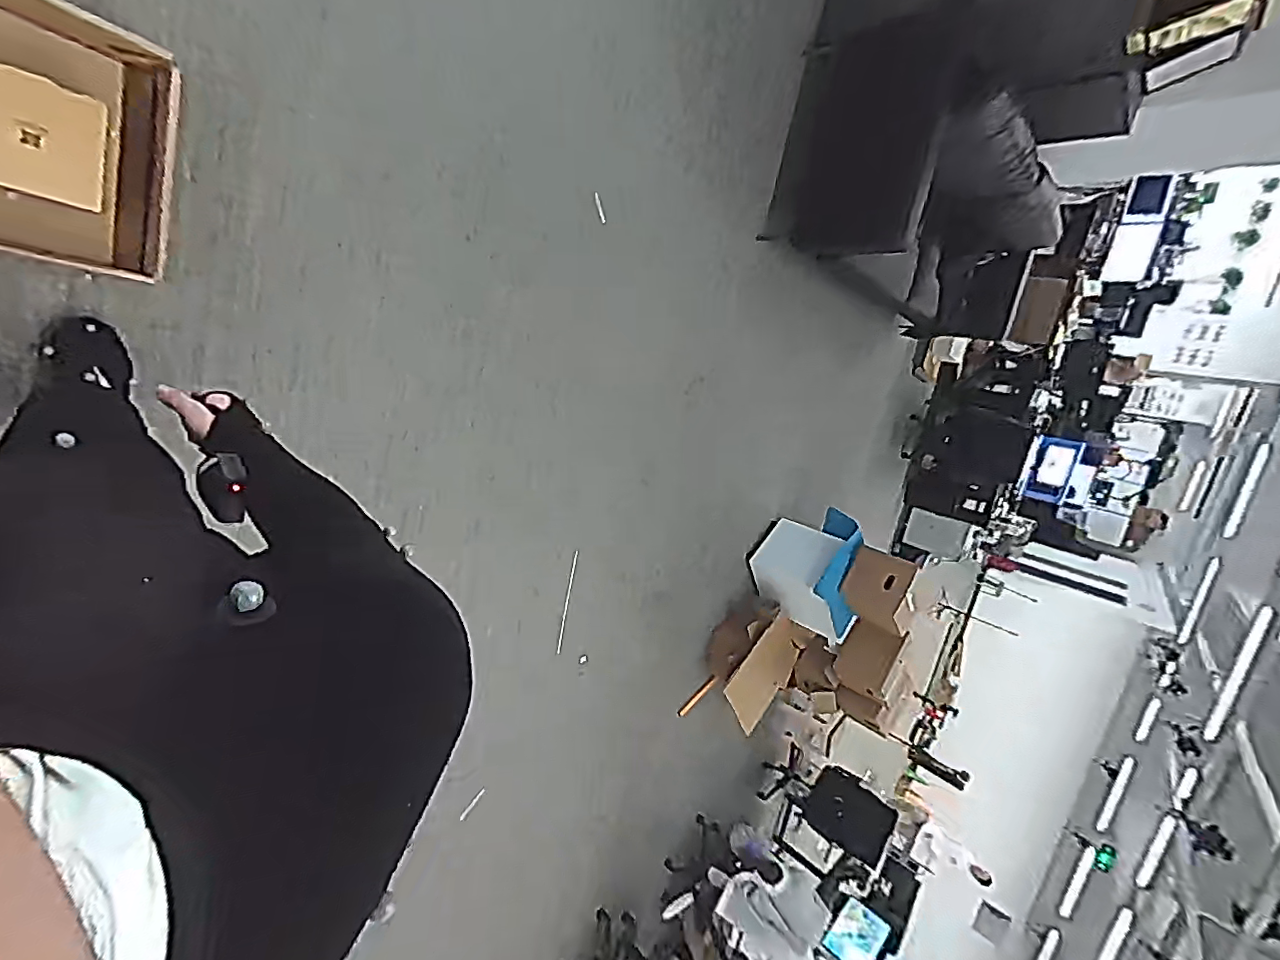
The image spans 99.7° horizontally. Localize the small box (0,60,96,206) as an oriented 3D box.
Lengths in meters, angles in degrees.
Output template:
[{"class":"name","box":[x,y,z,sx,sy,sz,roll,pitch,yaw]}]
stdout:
[{"class":"small box","box":[-1.026,-0.573,0.897,0.168,0.176,0.179,1,106,-48]}]
